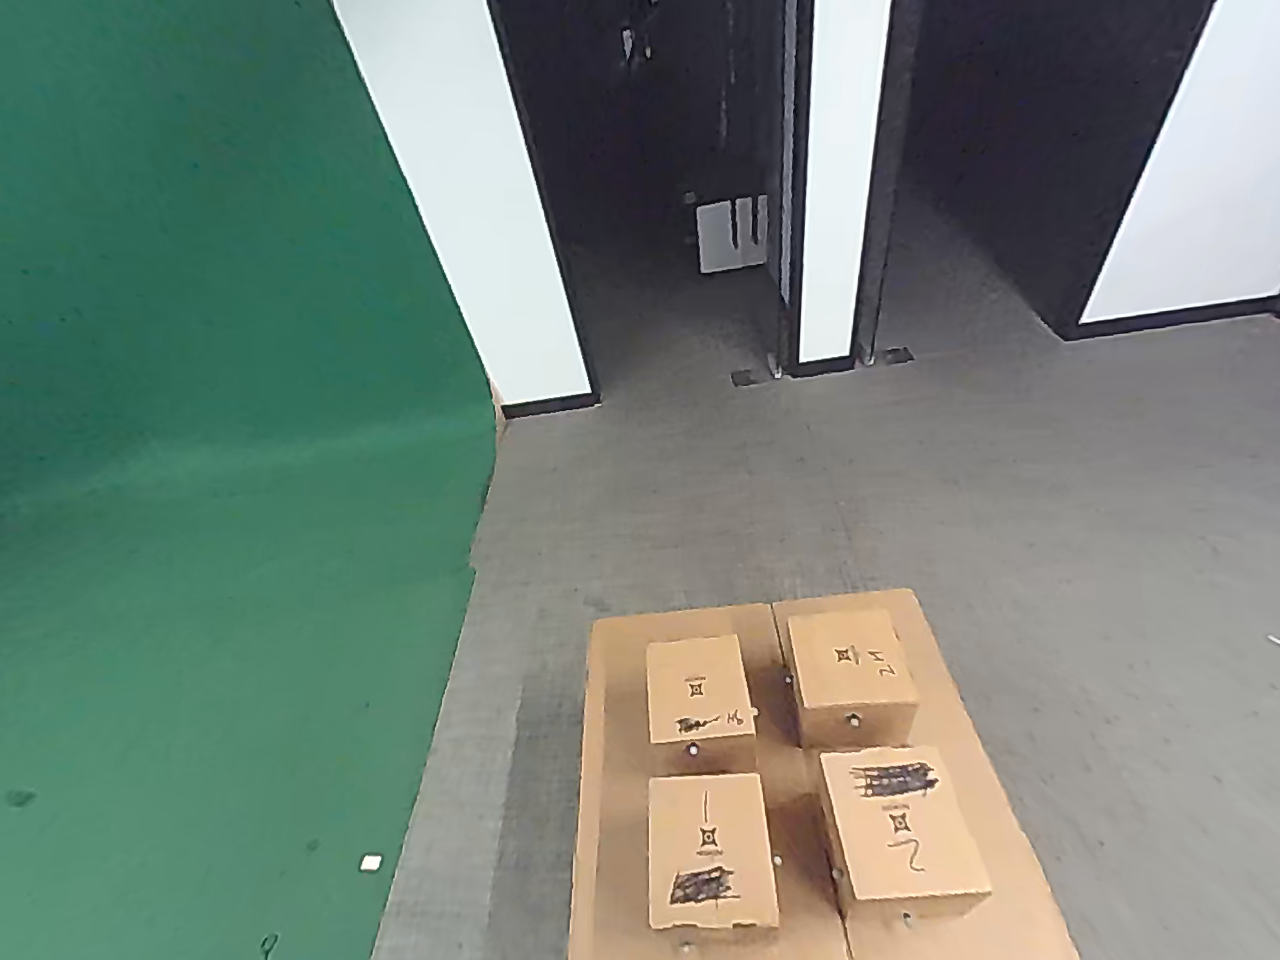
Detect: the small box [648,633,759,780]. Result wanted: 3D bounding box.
[{"bbox_3d":[0.110,0.396,0.946,0.168,0.176,0.179,-10,41,6],"label":"small box"}]
